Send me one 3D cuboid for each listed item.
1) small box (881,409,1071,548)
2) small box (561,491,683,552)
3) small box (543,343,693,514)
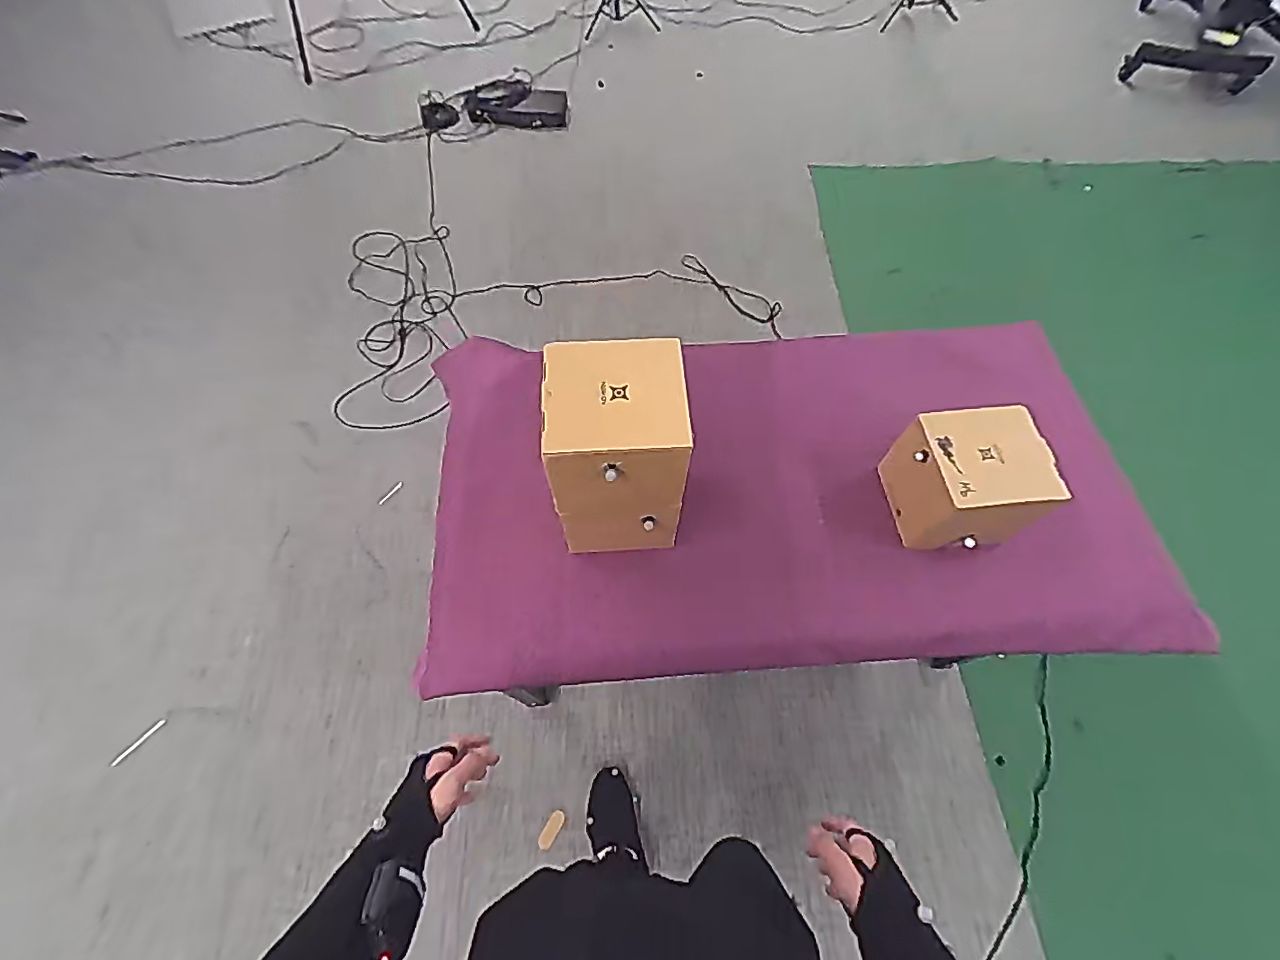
[{"bbox_3d":[0.525,0.002,0.875,0.179,0.176,0.168,-4,62,-2],"label":"small box"},{"bbox_3d":[-0.029,0.010,0.873,0.179,0.176,0.168,-3,62,-1],"label":"small box"},{"bbox_3d":[-0.030,-0.063,0.728,0.179,0.176,0.168,-3,63,-1],"label":"small box"}]
